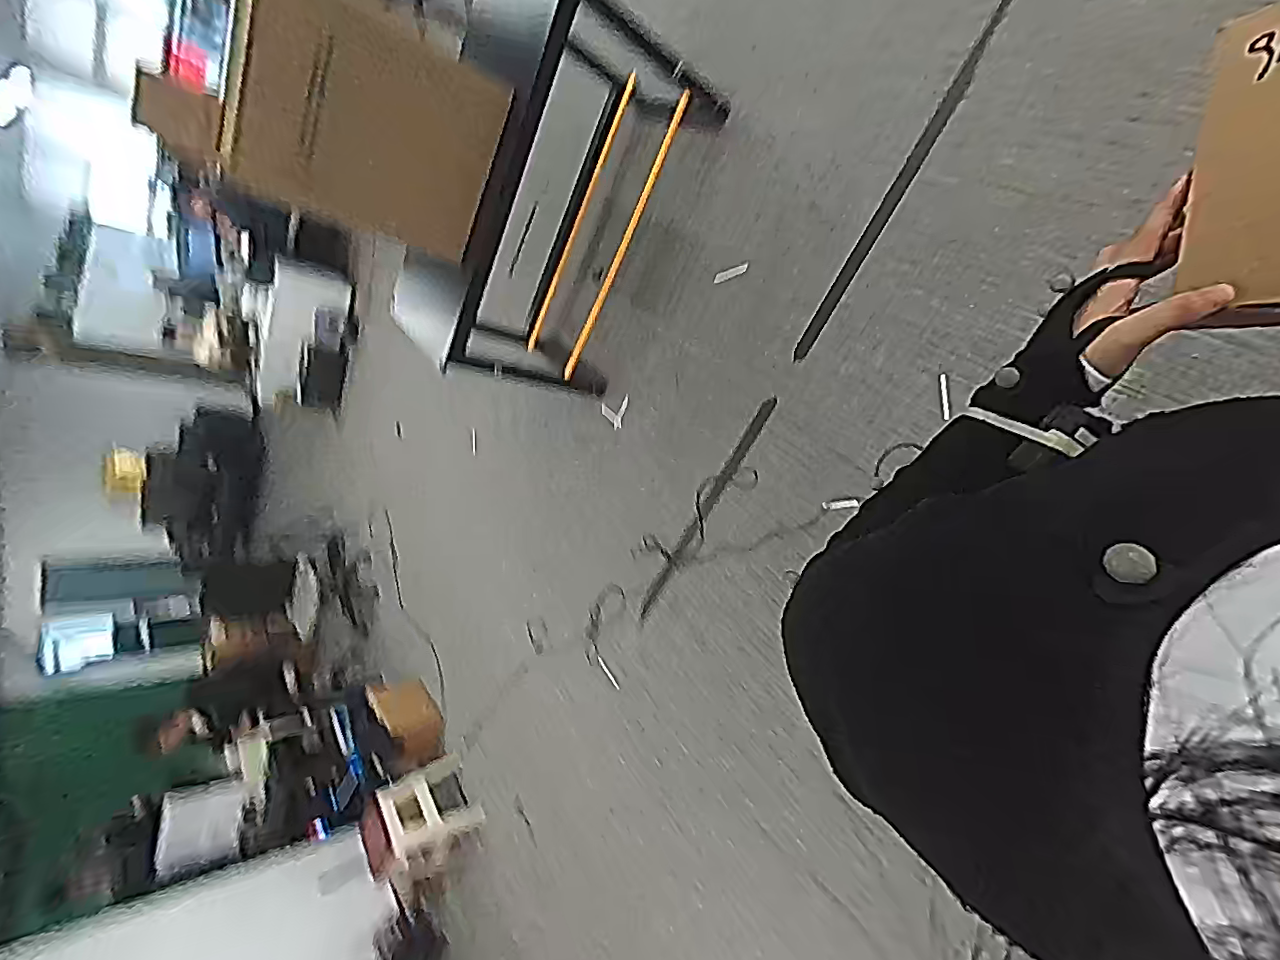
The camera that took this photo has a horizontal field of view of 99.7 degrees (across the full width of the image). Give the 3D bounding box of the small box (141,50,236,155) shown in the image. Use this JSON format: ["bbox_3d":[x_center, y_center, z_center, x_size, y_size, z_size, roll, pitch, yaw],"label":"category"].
[{"bbox_3d":[-1.159,-0.964,1.389,0.179,0.176,0.168,41,116,40],"label":"small box"}]
